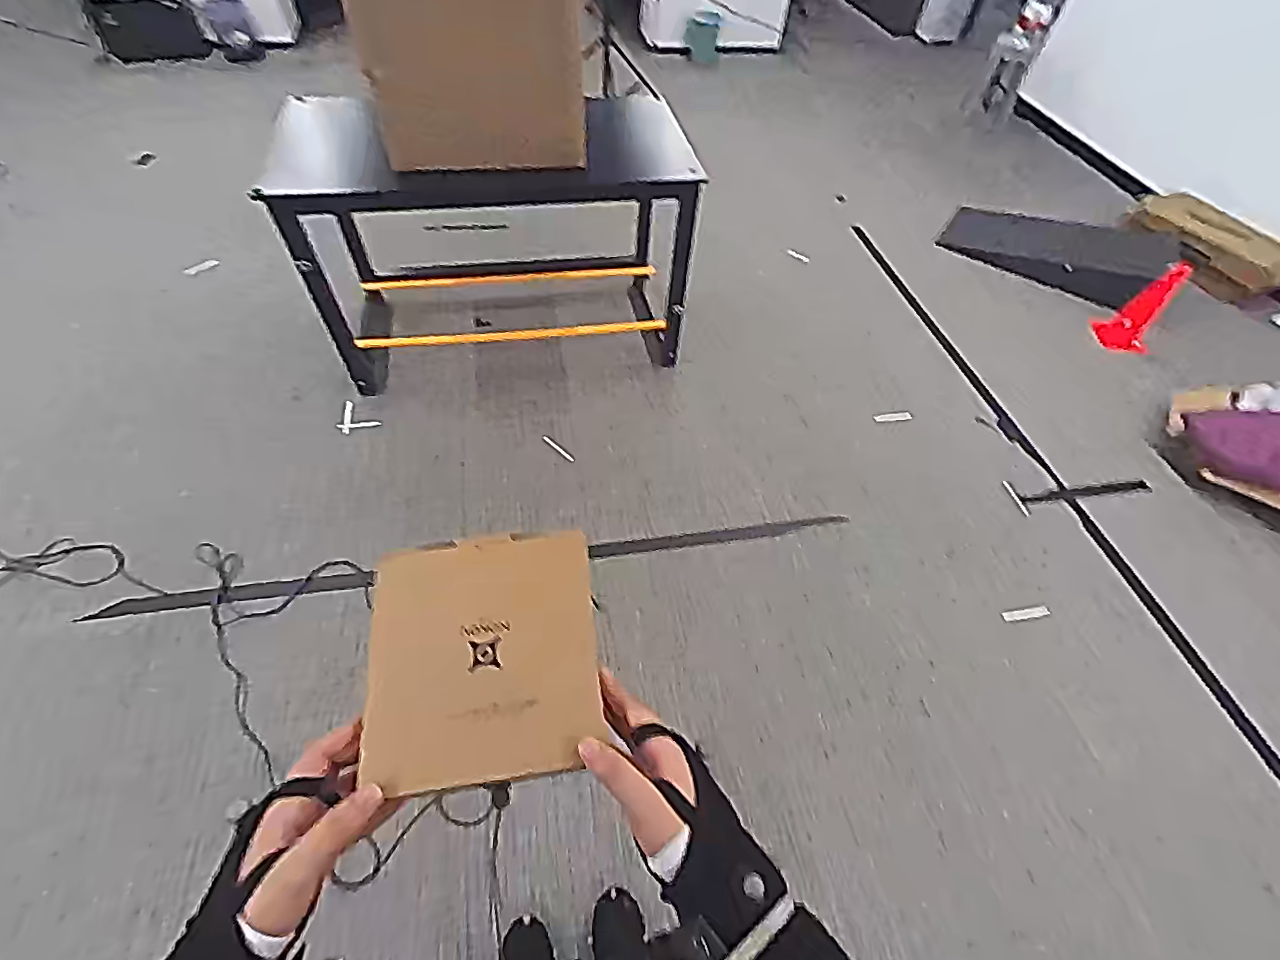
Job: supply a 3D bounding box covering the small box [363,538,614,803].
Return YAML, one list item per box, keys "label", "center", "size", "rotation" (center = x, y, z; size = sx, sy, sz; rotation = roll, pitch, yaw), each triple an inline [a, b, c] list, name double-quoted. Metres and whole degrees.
- label: "small box"
  center: [-0.115, 0.169, 0.469]
  size: [0.168, 0.176, 0.179]
  rotation: [-6, 61, -6]
